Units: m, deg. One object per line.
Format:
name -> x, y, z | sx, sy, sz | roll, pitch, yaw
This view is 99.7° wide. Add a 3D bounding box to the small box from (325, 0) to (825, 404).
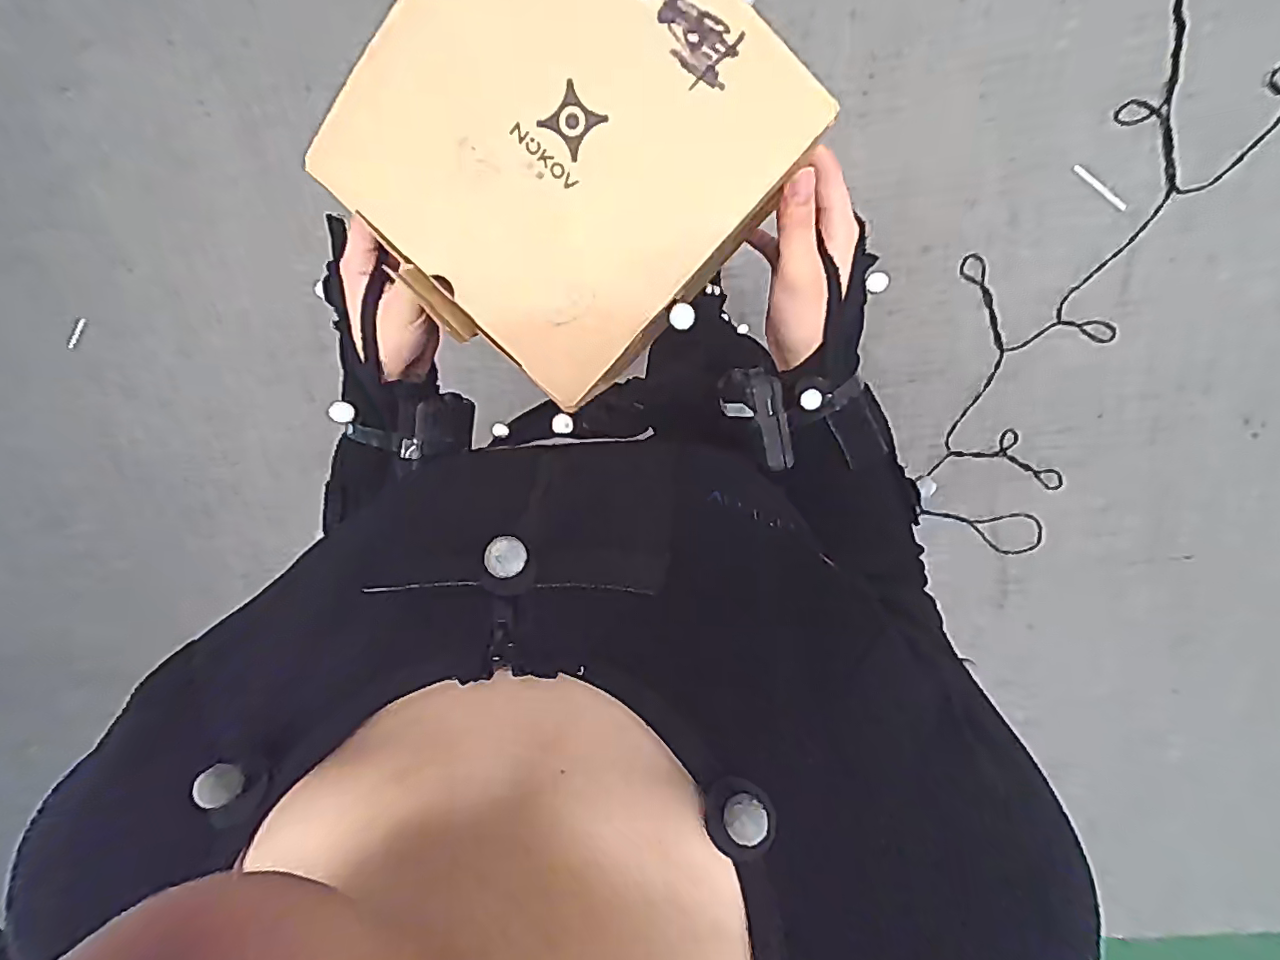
small box -> -0.026, -0.170, 0.319 | 0.168, 0.176, 0.179 | 43, 105, -7
